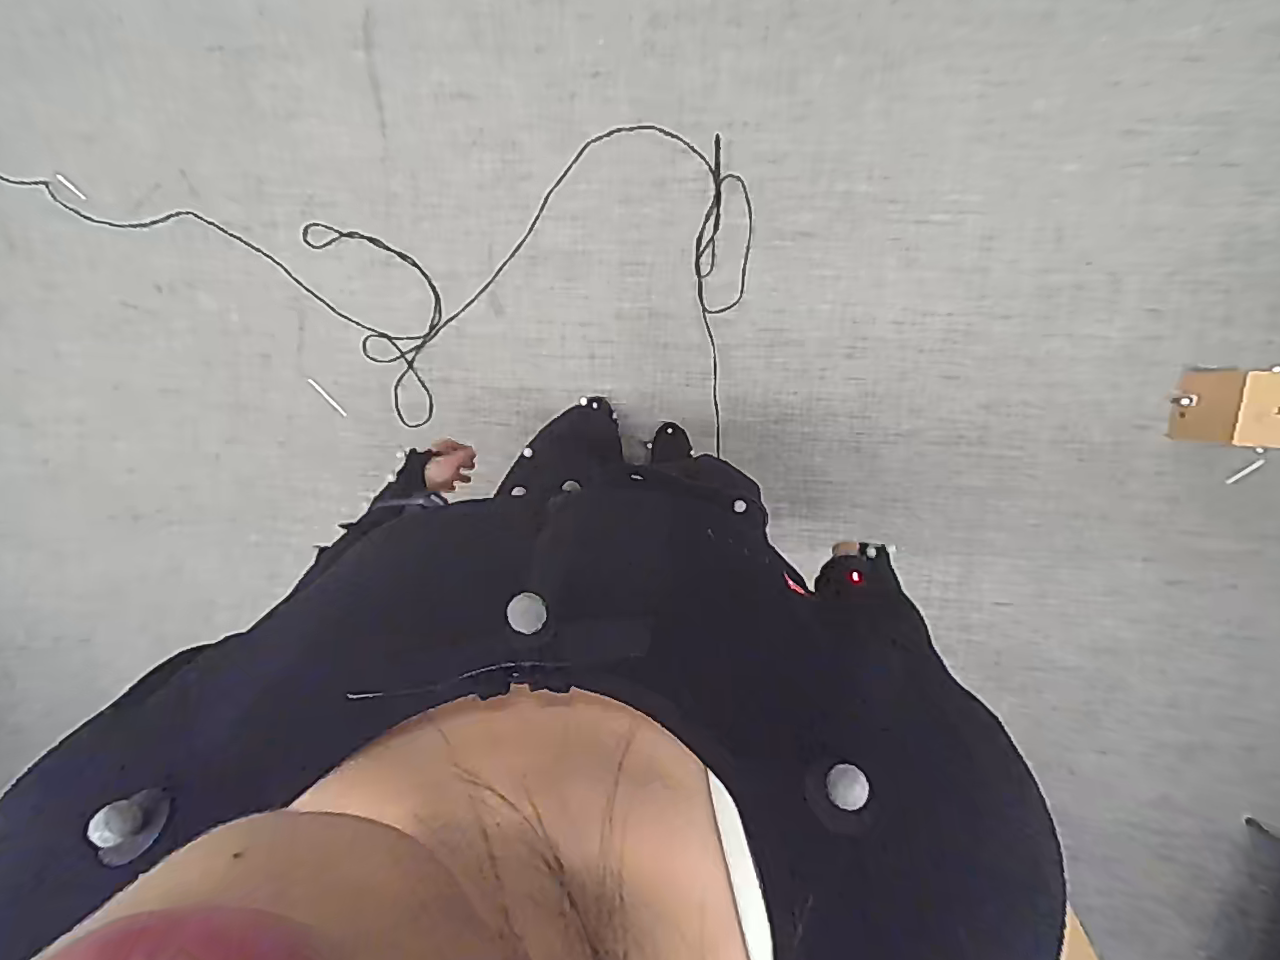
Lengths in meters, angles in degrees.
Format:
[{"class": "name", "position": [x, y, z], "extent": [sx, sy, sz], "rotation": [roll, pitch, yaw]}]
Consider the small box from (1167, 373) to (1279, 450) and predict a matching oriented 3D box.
[{"class": "small box", "position": [1.410, -0.162, 1.264], "extent": [0.179, 0.176, 0.168], "rotation": [3, 99, 5]}]
